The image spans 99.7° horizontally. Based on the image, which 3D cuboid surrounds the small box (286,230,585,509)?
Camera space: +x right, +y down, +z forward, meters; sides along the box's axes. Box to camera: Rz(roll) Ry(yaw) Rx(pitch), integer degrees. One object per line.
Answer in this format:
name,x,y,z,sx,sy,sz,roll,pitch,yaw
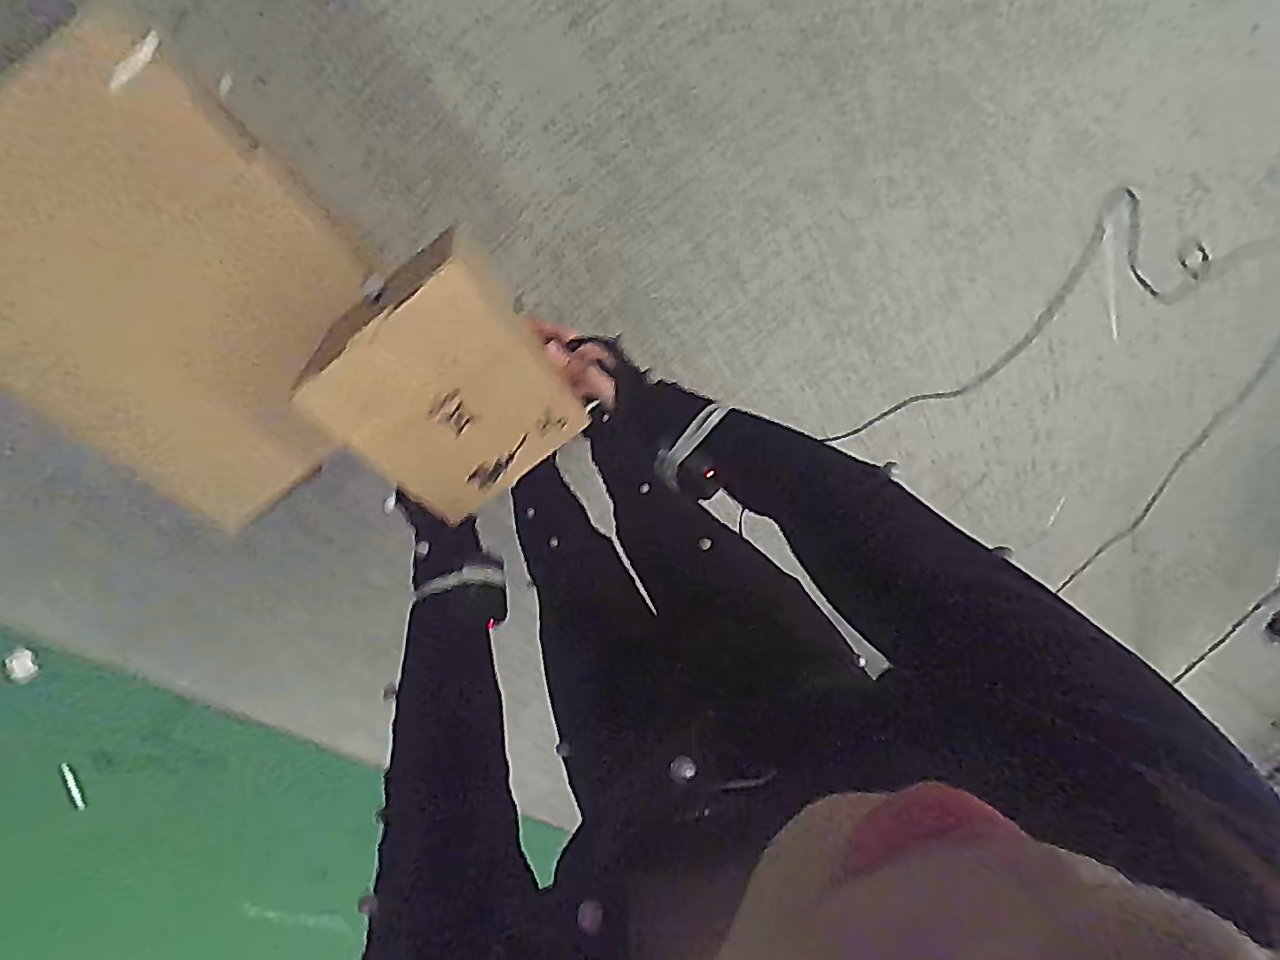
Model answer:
small box,-0.179,-0.113,0.511,0.168,0.176,0.179,-35,125,7
